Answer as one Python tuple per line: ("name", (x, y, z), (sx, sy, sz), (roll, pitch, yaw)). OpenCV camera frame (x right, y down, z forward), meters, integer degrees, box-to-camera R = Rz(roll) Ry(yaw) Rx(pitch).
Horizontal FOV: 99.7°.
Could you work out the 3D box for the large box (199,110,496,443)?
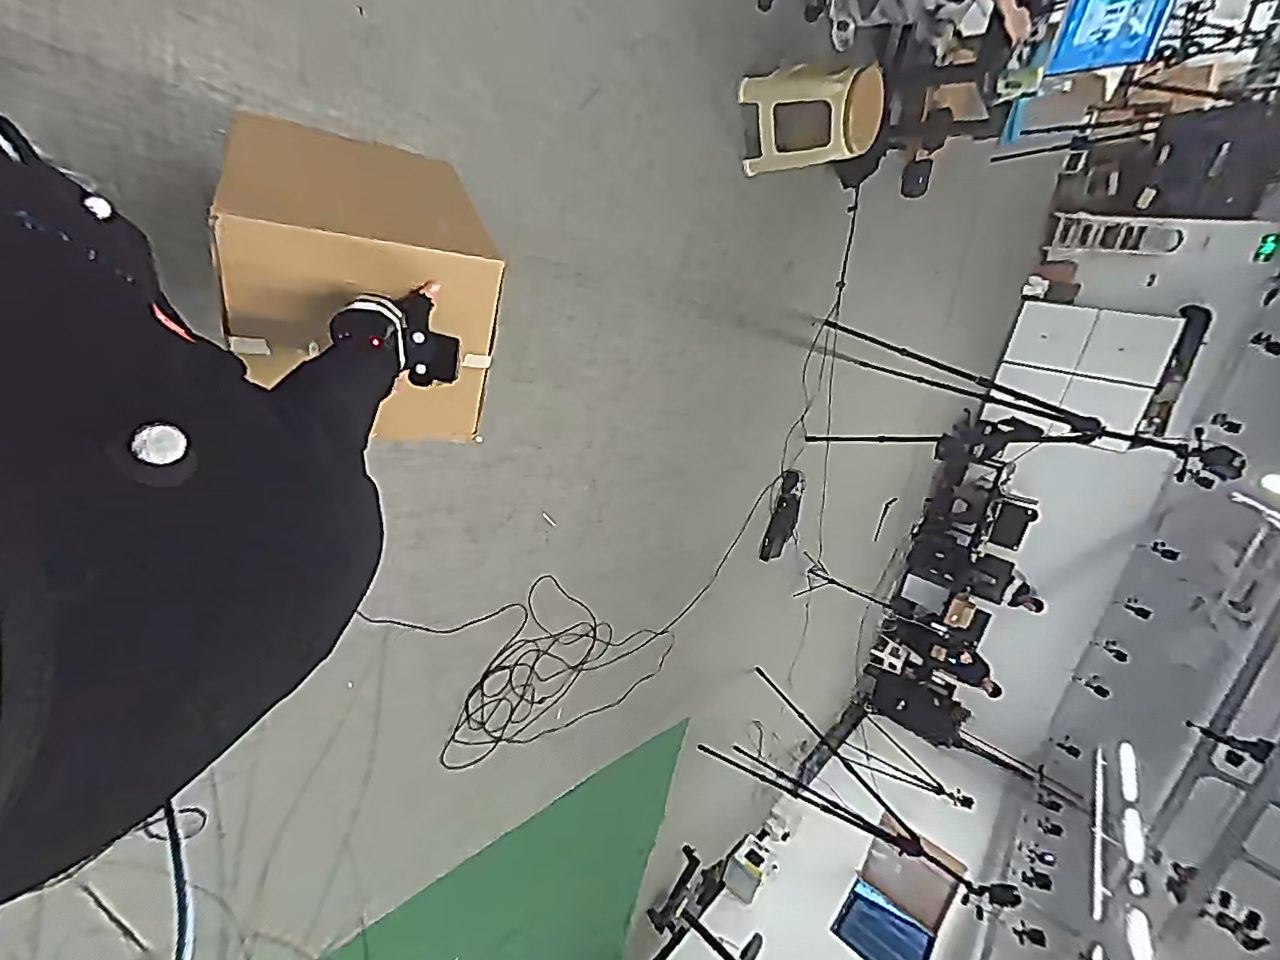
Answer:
("large box", (-0.441, -0.305, 0.839), (0.320, 0.408, 0.320), (-1, 134, -29))
